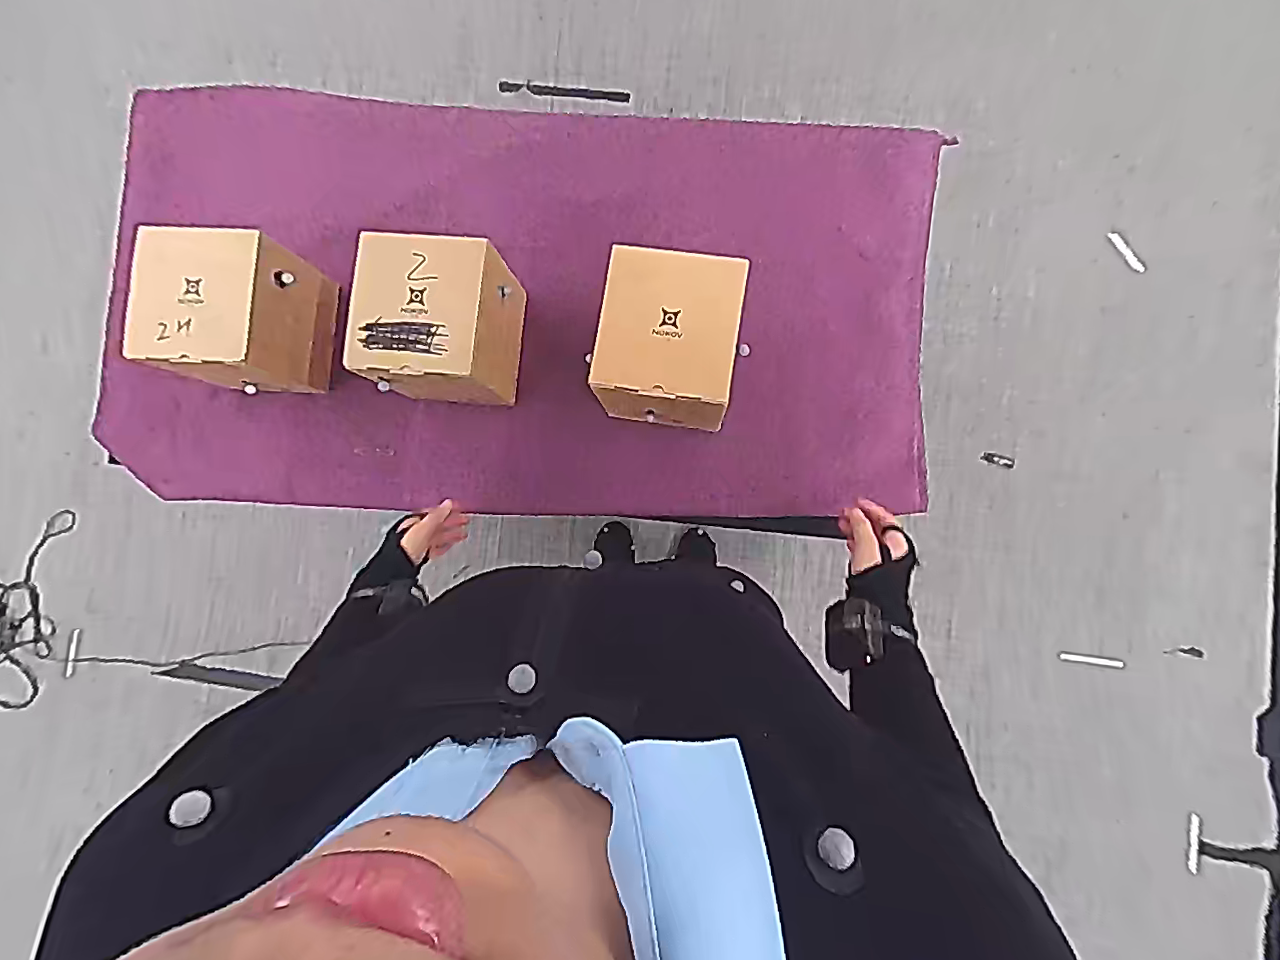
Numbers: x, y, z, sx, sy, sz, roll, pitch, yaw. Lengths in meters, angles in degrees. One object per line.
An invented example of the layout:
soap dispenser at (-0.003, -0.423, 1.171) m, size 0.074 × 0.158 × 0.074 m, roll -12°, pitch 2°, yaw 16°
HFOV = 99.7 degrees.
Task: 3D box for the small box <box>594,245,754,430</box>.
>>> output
small box at (0.044, -0.174, 0.705) m, size 0.168 × 0.176 × 0.179 m, roll 9°, pitch 86°, yaw 5°

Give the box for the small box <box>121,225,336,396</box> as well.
small box at (-0.555, -0.226, 0.754) m, size 0.168 × 0.176 × 0.179 m, roll 3°, pitch 87°, yaw 4°
